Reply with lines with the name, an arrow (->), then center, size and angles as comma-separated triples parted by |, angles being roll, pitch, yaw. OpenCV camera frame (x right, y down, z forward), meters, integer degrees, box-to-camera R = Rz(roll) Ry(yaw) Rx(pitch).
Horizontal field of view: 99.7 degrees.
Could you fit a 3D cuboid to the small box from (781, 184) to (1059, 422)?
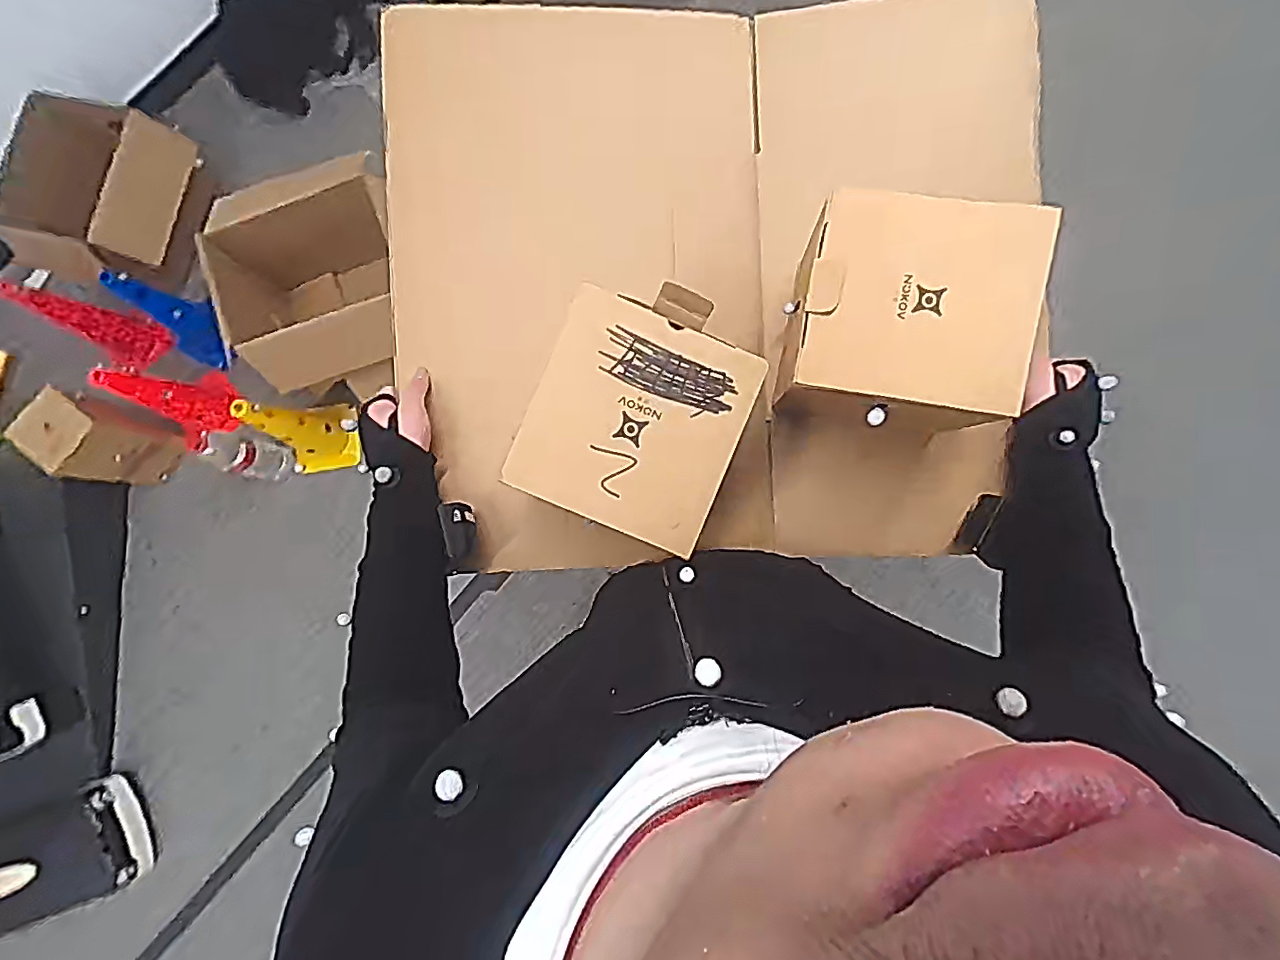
small box -> 0.245, -0.153, 0.522 | 0.179, 0.176, 0.168 | 11, 93, 9
